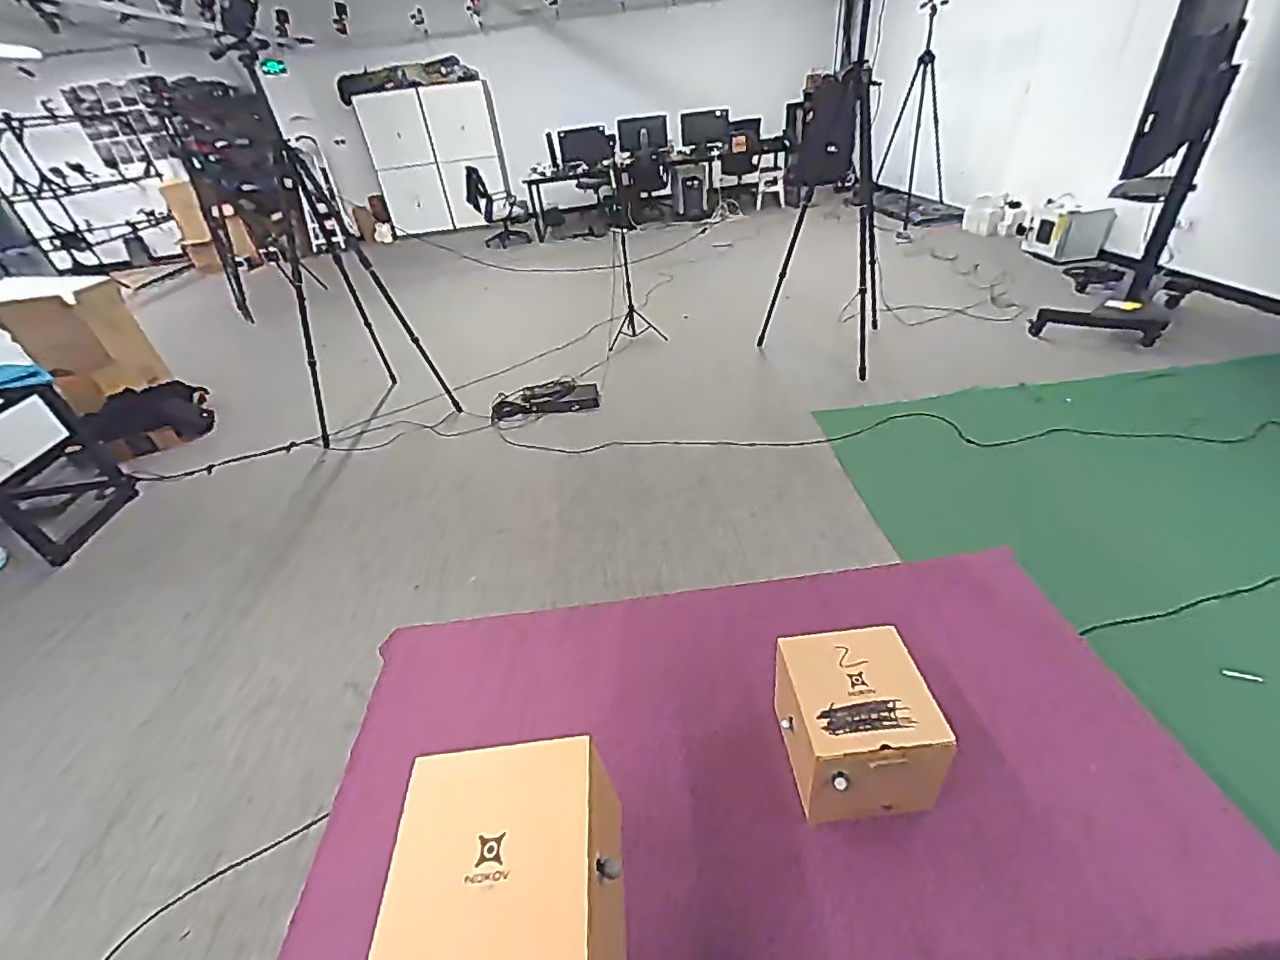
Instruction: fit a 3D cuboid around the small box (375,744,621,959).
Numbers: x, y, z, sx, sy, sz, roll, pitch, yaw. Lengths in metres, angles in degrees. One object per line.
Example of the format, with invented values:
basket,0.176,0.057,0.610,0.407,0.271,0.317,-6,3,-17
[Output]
small box,-0.111,0.375,0.499,0.168,0.176,0.179,-8,41,2
